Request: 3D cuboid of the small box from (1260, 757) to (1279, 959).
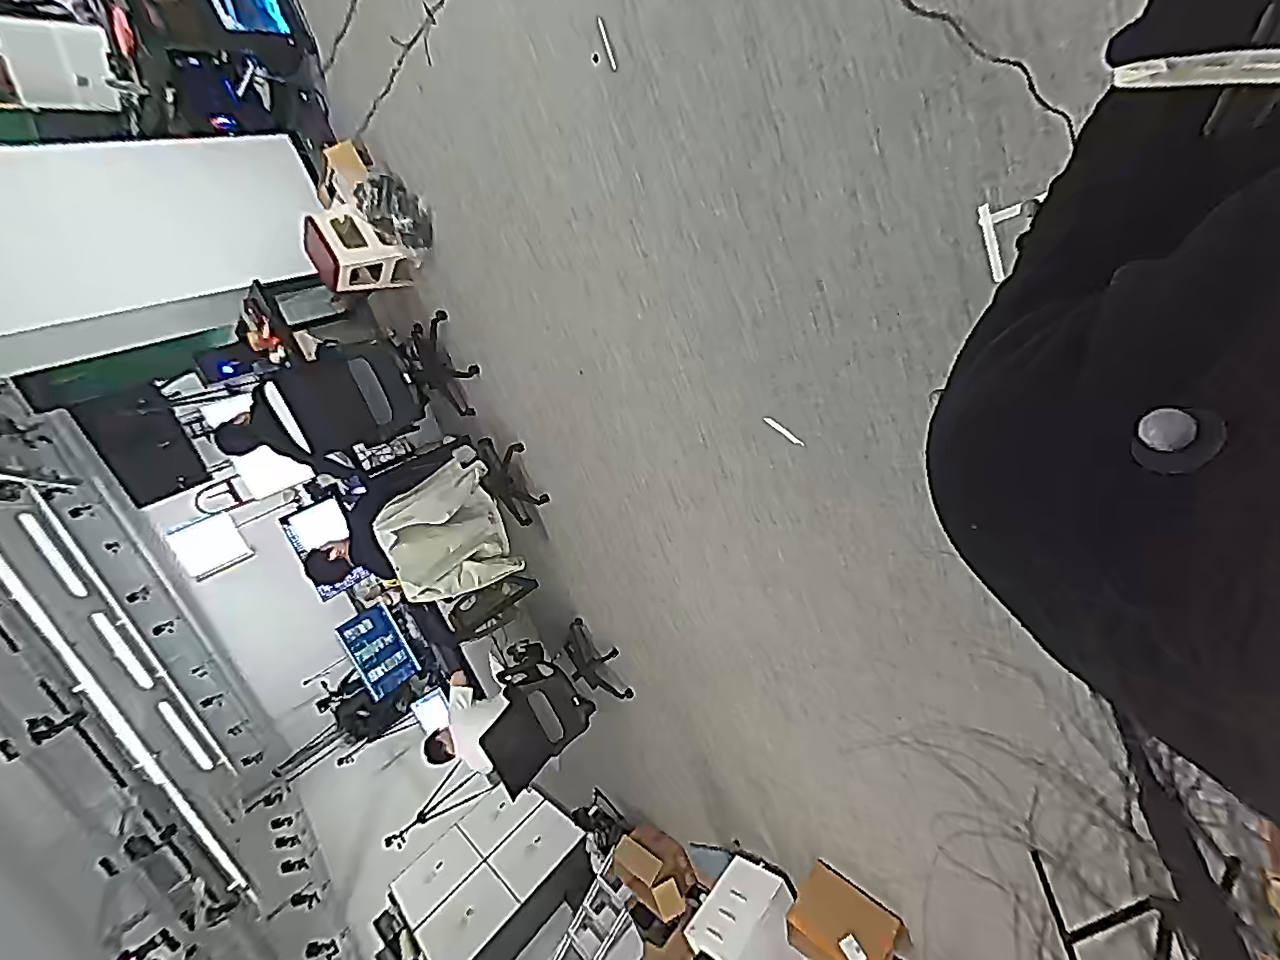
[{"bbox_3d":[0.722,0.410,0.517,0.168,0.176,0.179,1,116,49],"label":"small box"}]
